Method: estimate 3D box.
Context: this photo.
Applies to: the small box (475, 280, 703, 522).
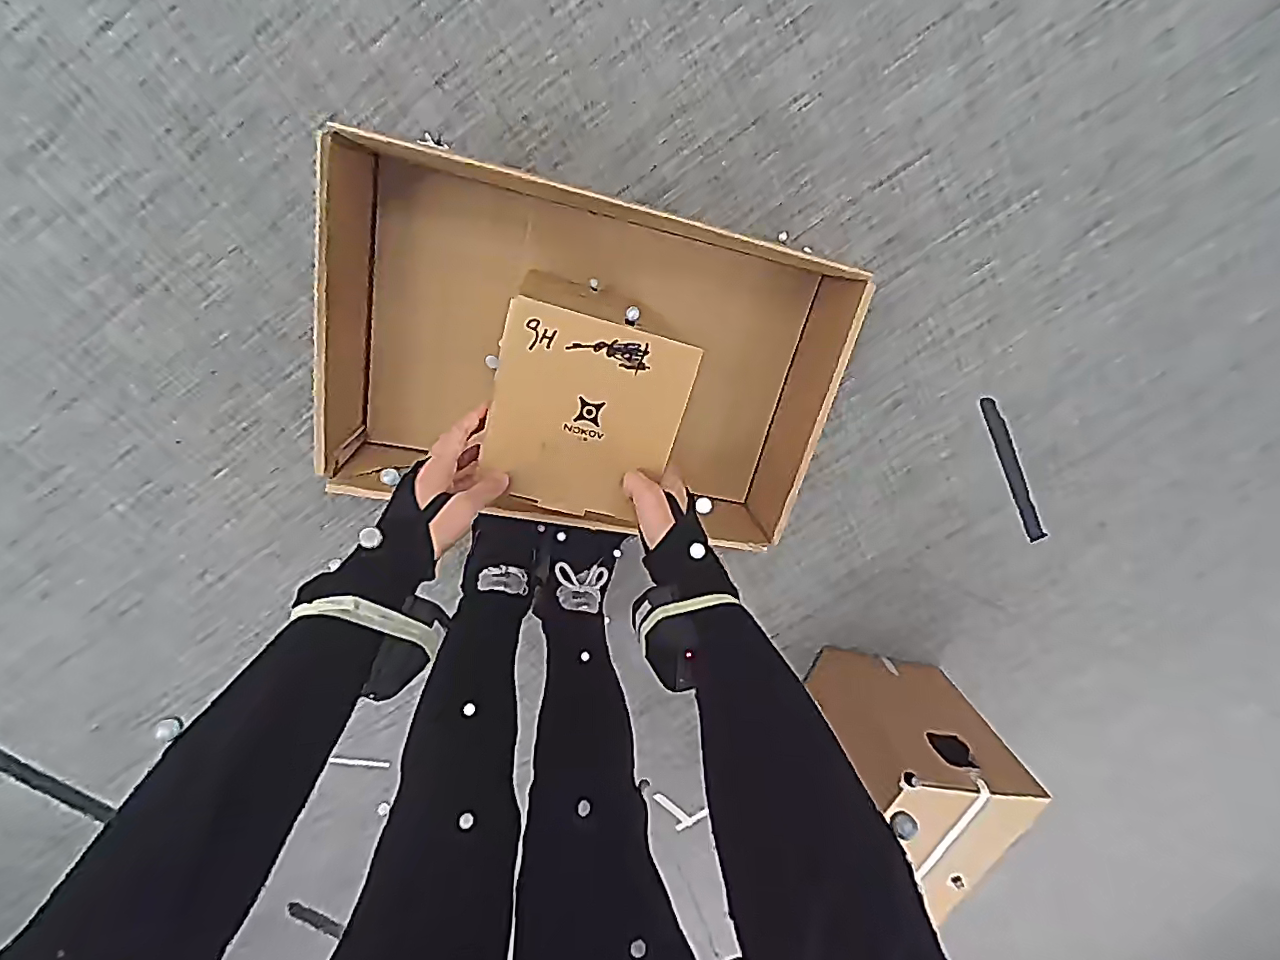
[{"bbox_3d":[-0.058,-0.085,0.545,0.168,0.176,0.179,12,112,-15],"label":"small box"}]
